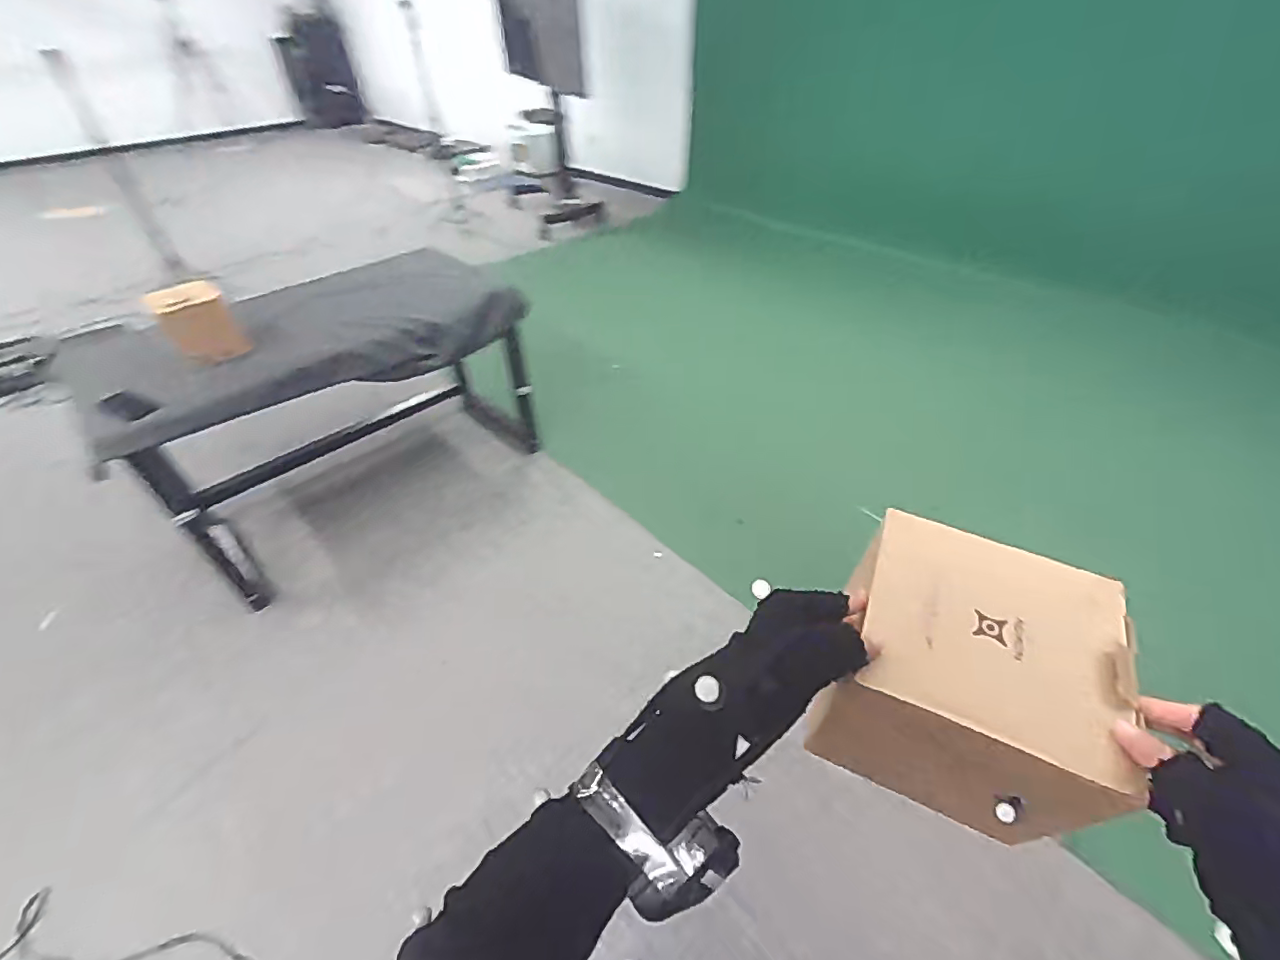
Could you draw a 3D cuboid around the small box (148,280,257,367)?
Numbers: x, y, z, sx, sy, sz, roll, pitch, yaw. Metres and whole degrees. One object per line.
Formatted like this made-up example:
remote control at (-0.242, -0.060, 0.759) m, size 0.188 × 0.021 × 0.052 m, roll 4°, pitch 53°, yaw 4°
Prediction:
small box at (-1.226, -0.439, 1.525) m, size 0.179 × 0.176 × 0.168 m, roll 32°, pitch 51°, yaw 33°
